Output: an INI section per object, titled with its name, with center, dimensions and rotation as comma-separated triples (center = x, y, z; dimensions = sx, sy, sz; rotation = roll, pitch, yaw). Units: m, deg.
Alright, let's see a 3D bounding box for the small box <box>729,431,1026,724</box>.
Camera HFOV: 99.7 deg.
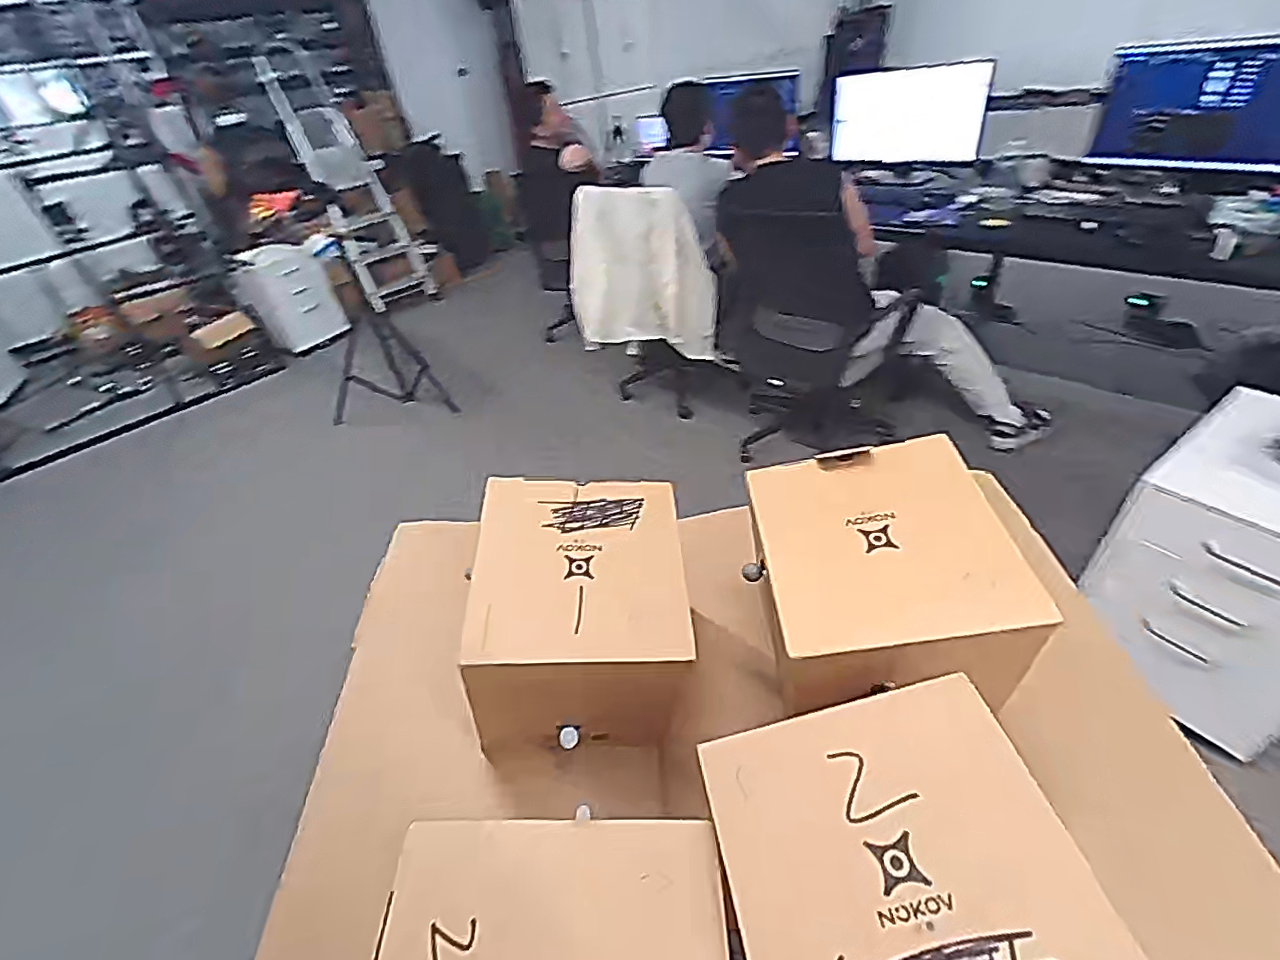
[small box]
center = 0.180, 0.090, 0.461
dimensions = 0.168, 0.176, 0.179
rotation = -12, 45, 7
